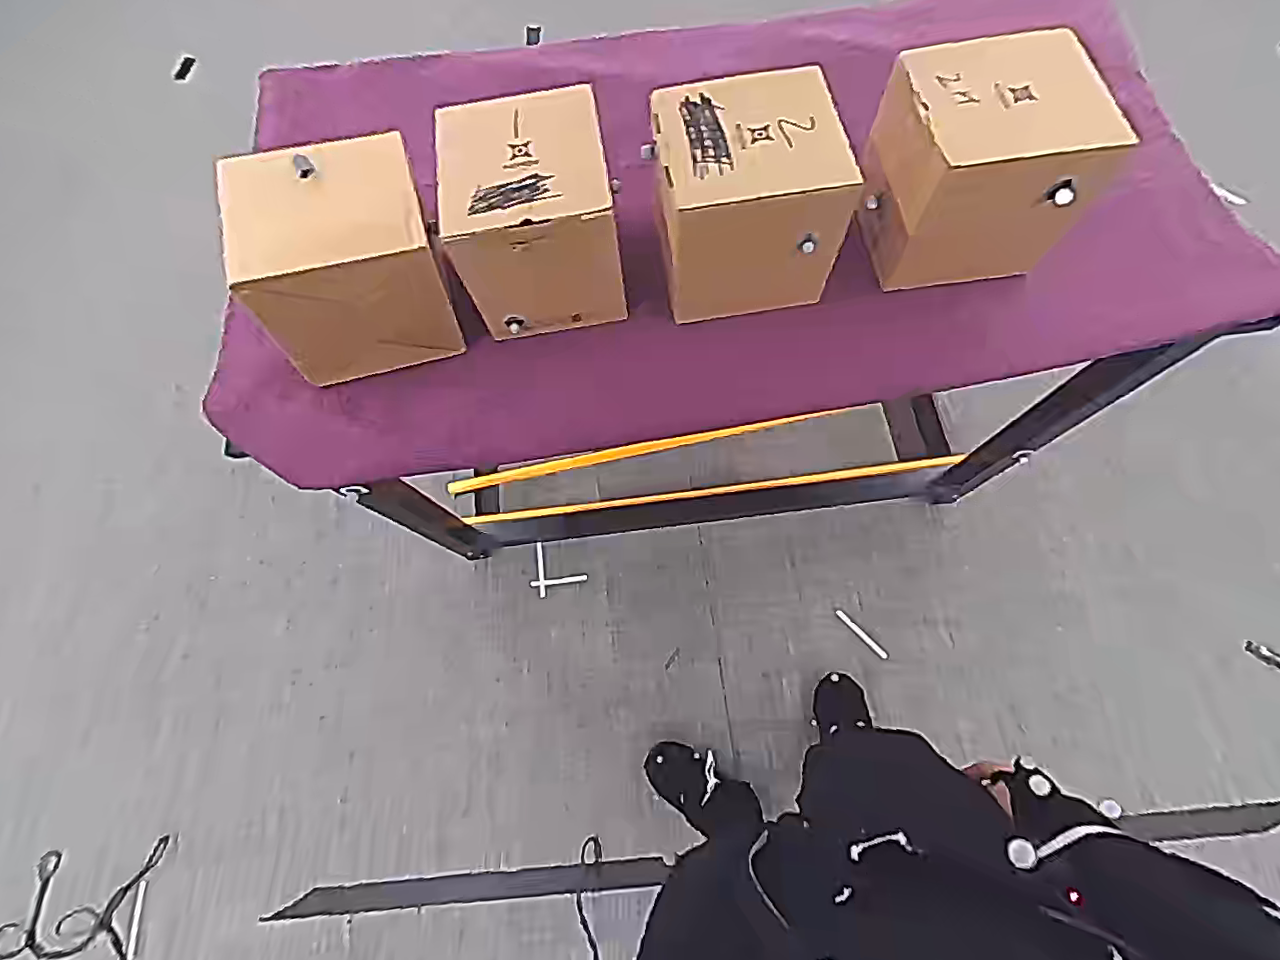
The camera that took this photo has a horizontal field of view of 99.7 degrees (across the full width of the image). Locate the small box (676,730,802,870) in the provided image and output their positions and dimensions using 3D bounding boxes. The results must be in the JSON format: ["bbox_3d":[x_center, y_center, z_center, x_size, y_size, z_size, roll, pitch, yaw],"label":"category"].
[{"bbox_3d":[0.183,0.605,1.037,0.168,0.176,0.179,39,75,18],"label":"small box"}]
